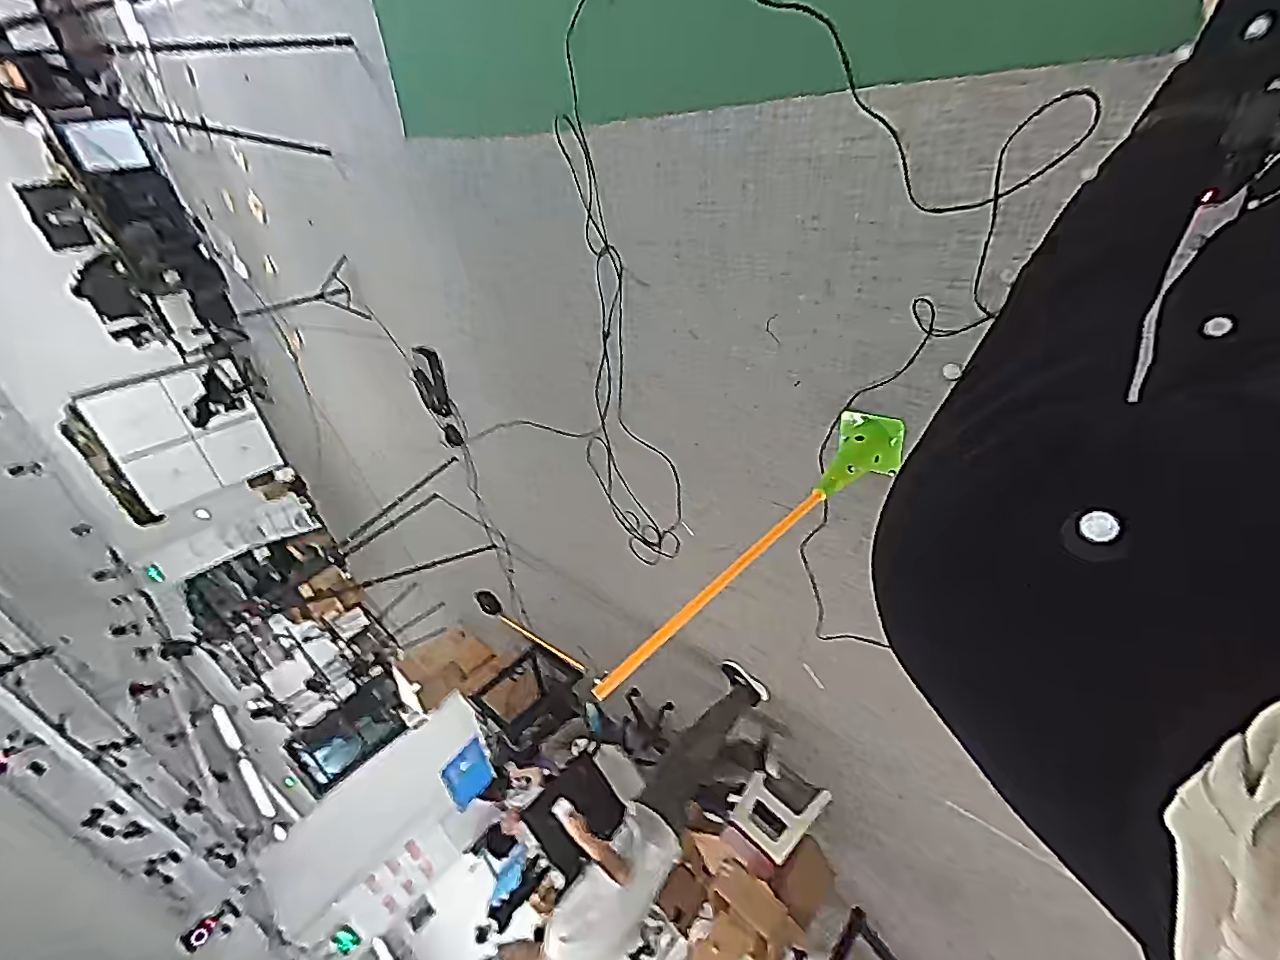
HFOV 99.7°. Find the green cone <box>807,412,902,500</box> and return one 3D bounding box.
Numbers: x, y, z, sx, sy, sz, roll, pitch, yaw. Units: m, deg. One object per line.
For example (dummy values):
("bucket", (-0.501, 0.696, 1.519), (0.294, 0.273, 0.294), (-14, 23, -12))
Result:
("green cone", (0.626, -0.040, 1.660), (0.202, 0.368, 0.200), (21, 131, 40))
